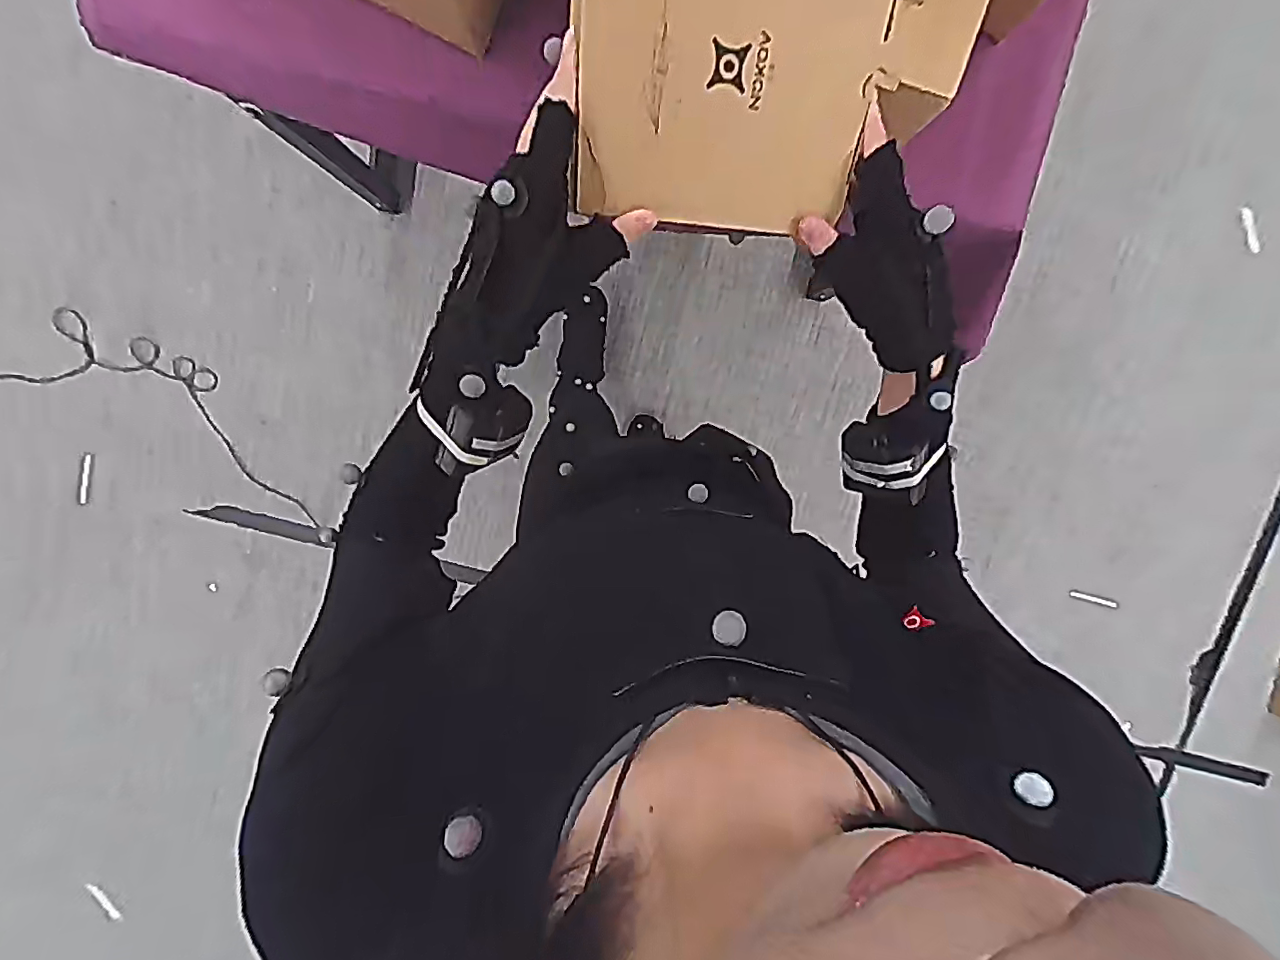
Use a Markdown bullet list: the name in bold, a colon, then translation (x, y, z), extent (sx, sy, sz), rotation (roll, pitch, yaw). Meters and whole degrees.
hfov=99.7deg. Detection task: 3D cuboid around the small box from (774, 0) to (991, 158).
- **small box**: translation (0.268, -0.507, 0.614), extent (0.168, 0.176, 0.179), rotation (17, 98, -5)
